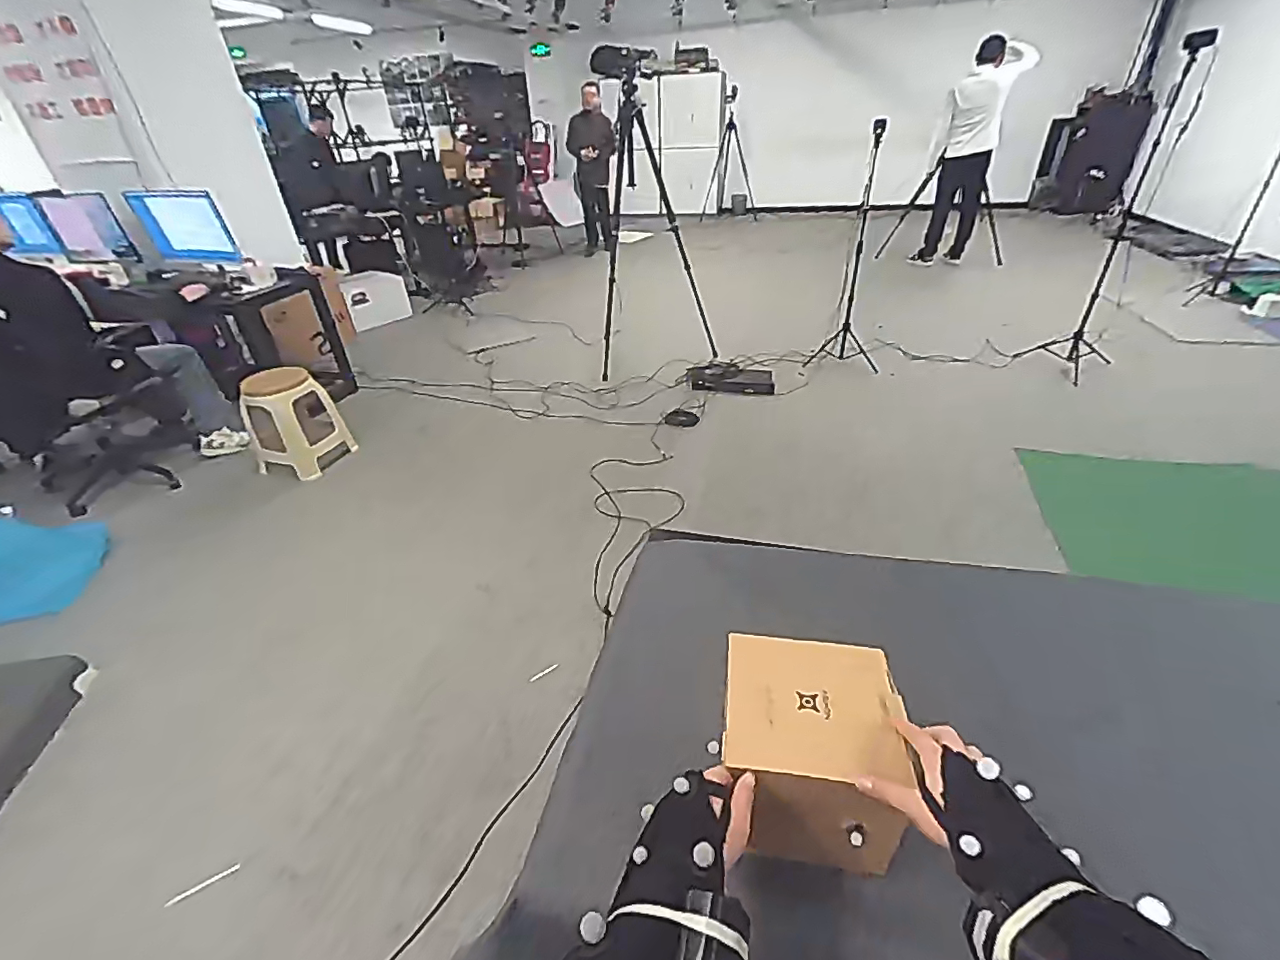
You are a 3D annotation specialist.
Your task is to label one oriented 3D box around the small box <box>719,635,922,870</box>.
[{"bbox_3d":[0.182,0.299,0.602,0.179,0.176,0.168,2,32,9],"label":"small box"}]
